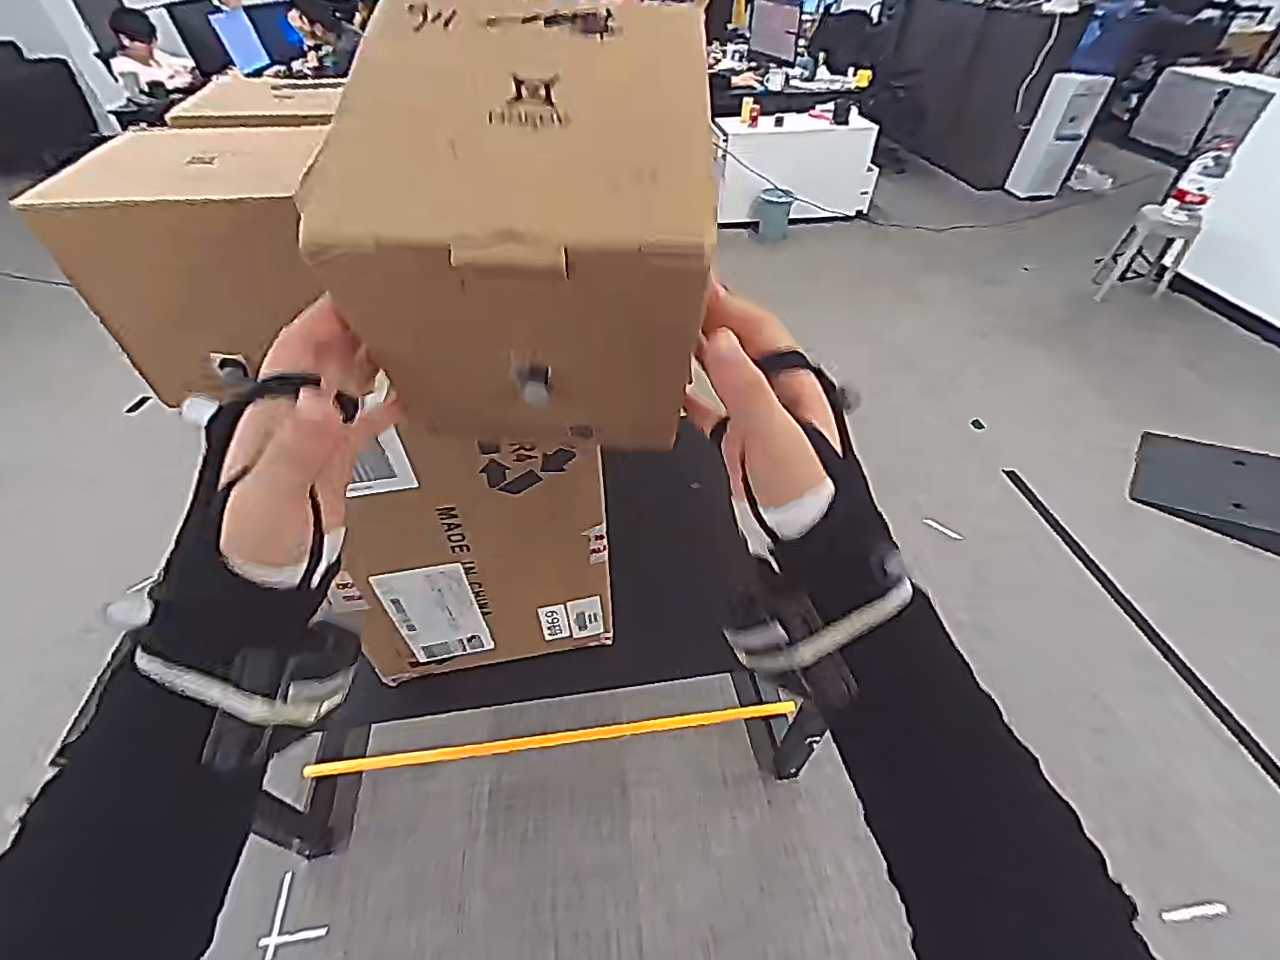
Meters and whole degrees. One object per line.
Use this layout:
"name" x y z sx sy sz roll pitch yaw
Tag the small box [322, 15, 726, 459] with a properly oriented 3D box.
"small box" -0.046 -0.122 0.319 0.168 0.176 0.179 2 67 -2
